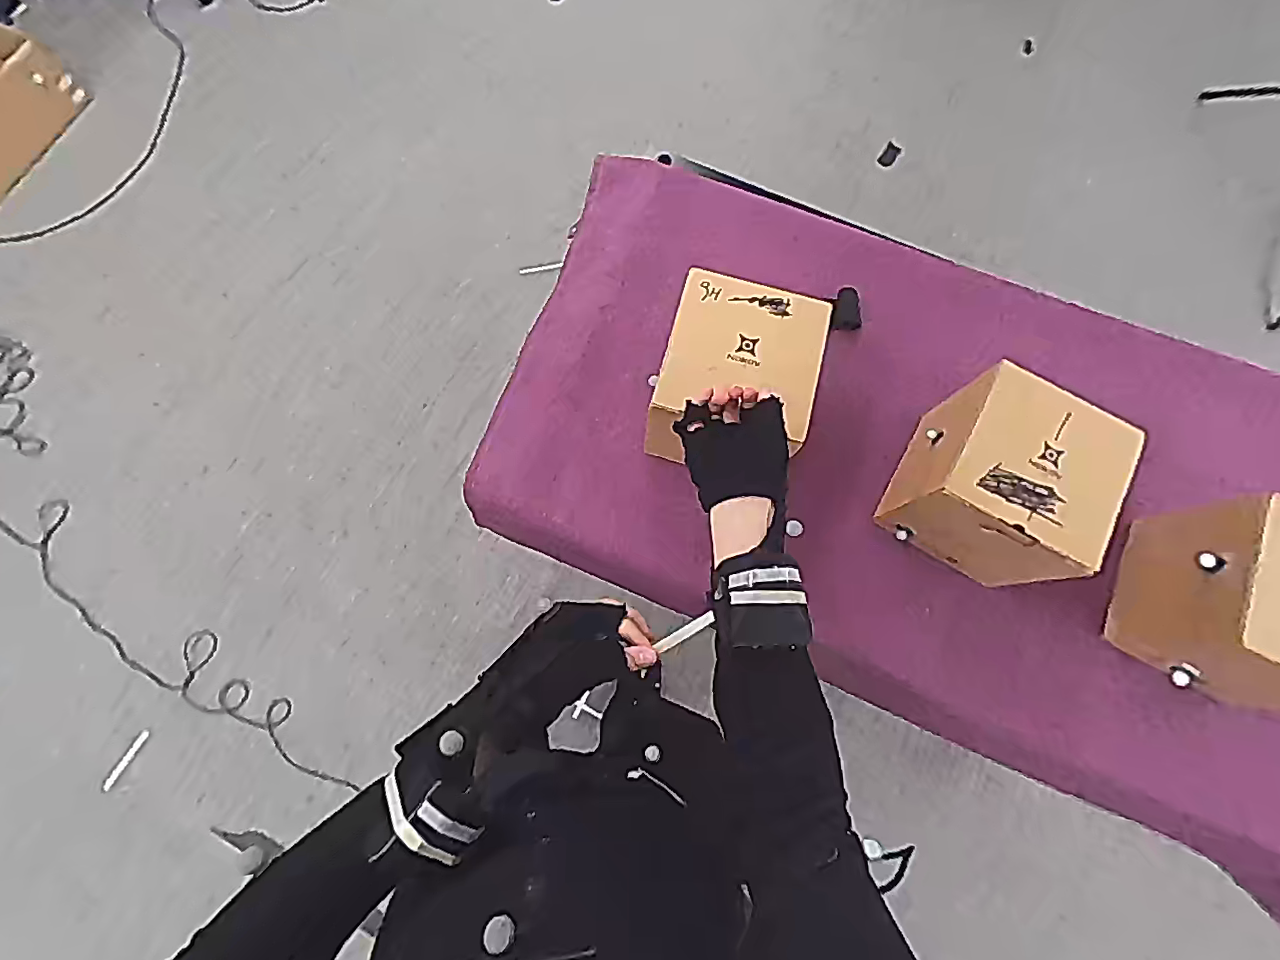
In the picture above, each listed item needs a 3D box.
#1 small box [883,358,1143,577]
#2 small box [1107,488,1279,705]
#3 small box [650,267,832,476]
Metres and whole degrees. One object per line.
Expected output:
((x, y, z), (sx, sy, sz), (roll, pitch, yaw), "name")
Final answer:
((0.419, -0.002, 0.640), (0.168, 0.176, 0.179), (31, 75, 6), "small box")
((0.686, 0.137, 0.611), (0.168, 0.176, 0.179), (26, 76, 7), "small box")
((0.111, -0.119, 0.662), (0.168, 0.176, 0.179), (16, 75, 2), "small box")
